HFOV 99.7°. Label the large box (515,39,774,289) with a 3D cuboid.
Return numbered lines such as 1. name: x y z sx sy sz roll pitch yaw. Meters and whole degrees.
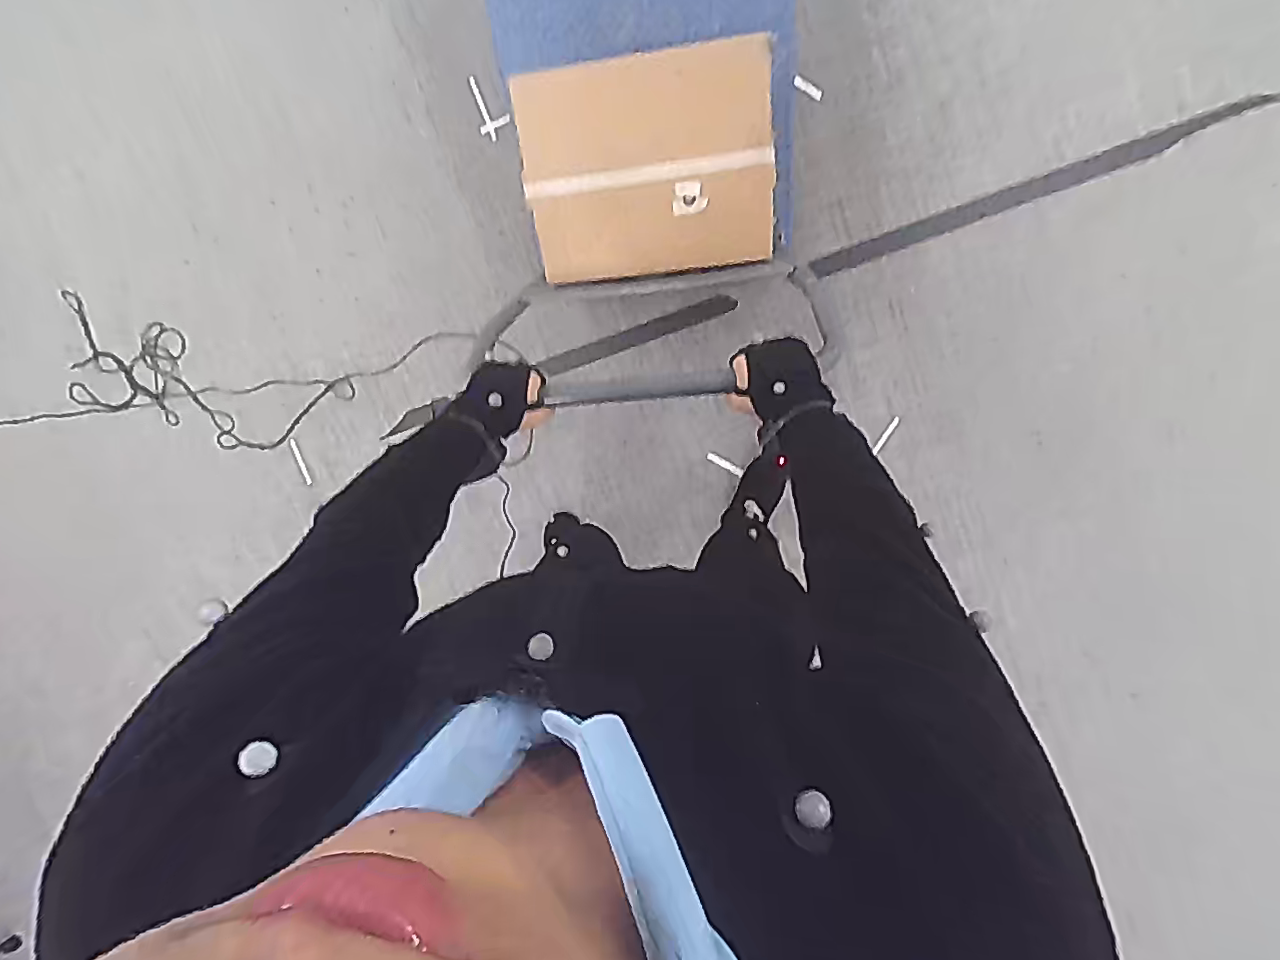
1. large box: 0.025 -0.576 1.035 0.408 0.320 0.320 -6 118 7
